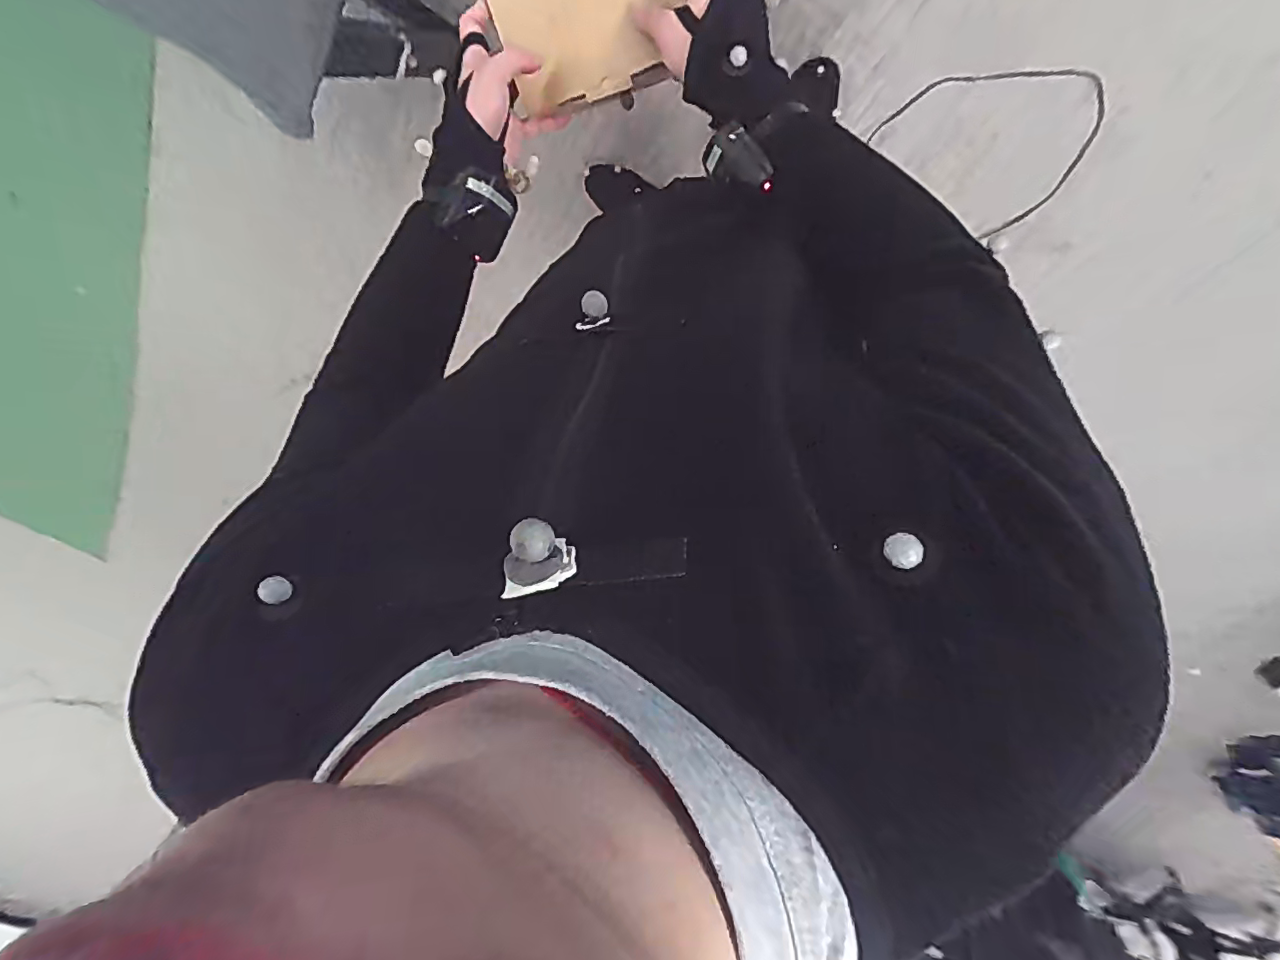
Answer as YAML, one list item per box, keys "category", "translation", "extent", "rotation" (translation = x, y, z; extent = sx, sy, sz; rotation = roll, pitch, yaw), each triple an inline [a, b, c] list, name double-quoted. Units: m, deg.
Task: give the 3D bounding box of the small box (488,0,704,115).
- category: "small box"
  translation: [-0.040, -0.468, 0.502]
  extent: [0.168, 0.176, 0.179]
  rotation: [-9, 122, 17]
